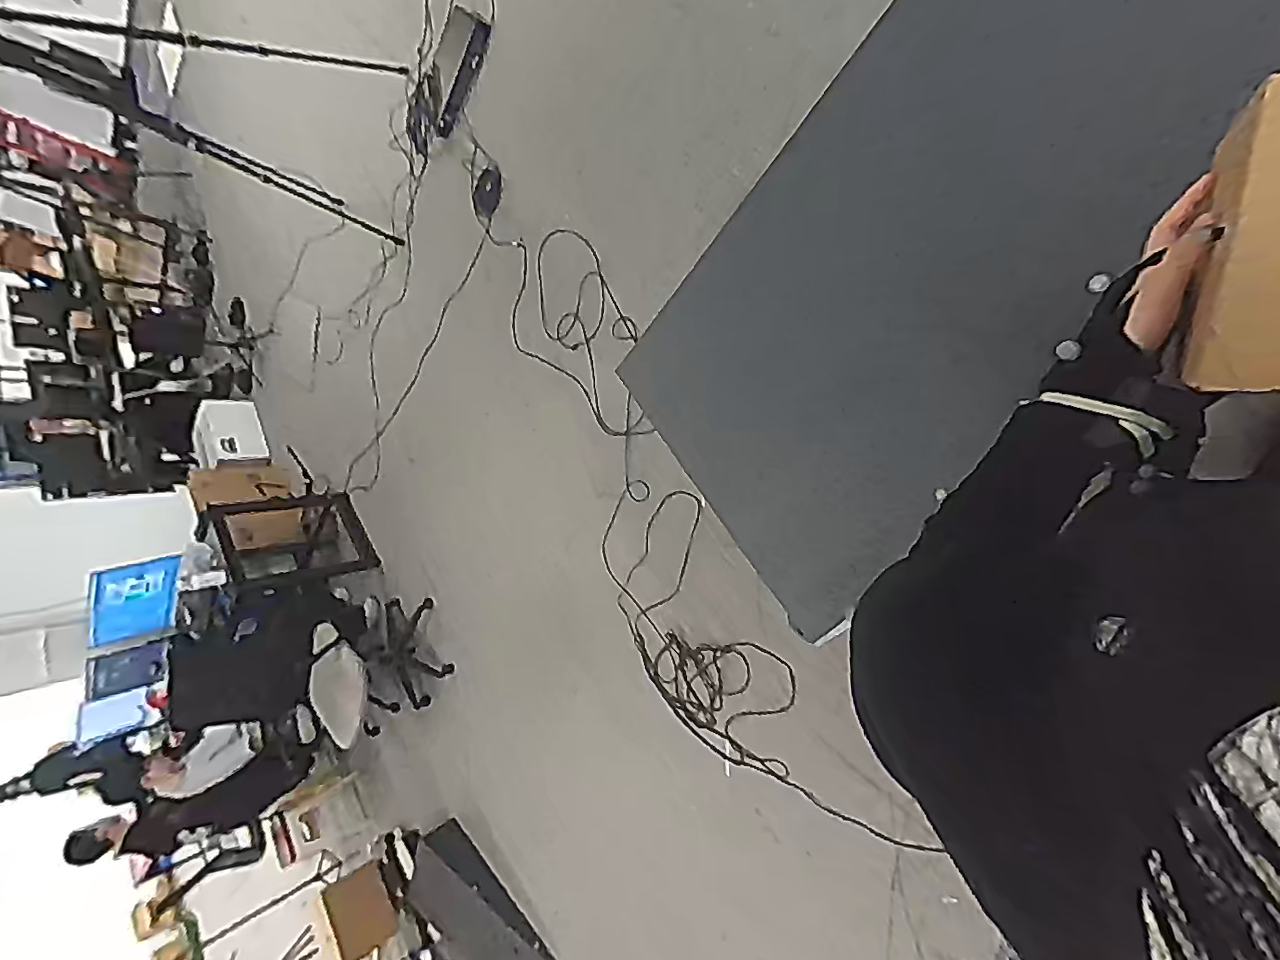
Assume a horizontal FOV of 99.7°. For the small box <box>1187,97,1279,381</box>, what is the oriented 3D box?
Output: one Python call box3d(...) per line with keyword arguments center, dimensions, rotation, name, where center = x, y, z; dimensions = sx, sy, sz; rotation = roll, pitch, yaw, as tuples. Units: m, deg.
box3d(center=(0.457, -0.146, 0.315), dimensions=(0.168, 0.176, 0.179), rotation=(11, 108, 38), name="small box")
